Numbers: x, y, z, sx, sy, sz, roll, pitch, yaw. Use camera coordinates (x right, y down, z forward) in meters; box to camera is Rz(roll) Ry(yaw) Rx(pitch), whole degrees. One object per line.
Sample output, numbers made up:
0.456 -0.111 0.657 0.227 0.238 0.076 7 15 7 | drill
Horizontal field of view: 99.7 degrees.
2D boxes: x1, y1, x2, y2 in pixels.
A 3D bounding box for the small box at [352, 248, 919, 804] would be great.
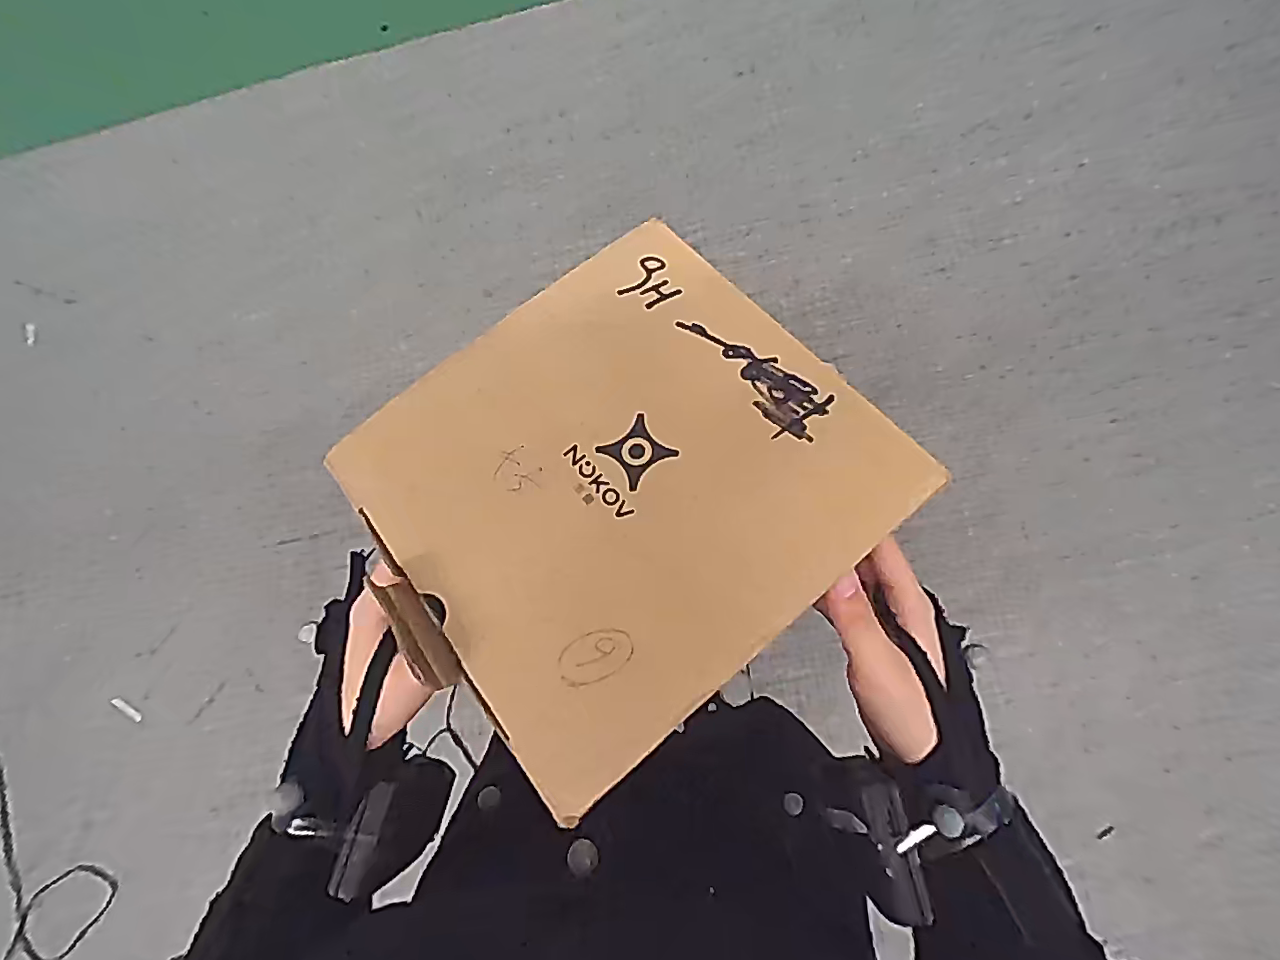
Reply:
0.000 0.027 0.291 0.179 0.176 0.168 -39 72 -9 | small box
